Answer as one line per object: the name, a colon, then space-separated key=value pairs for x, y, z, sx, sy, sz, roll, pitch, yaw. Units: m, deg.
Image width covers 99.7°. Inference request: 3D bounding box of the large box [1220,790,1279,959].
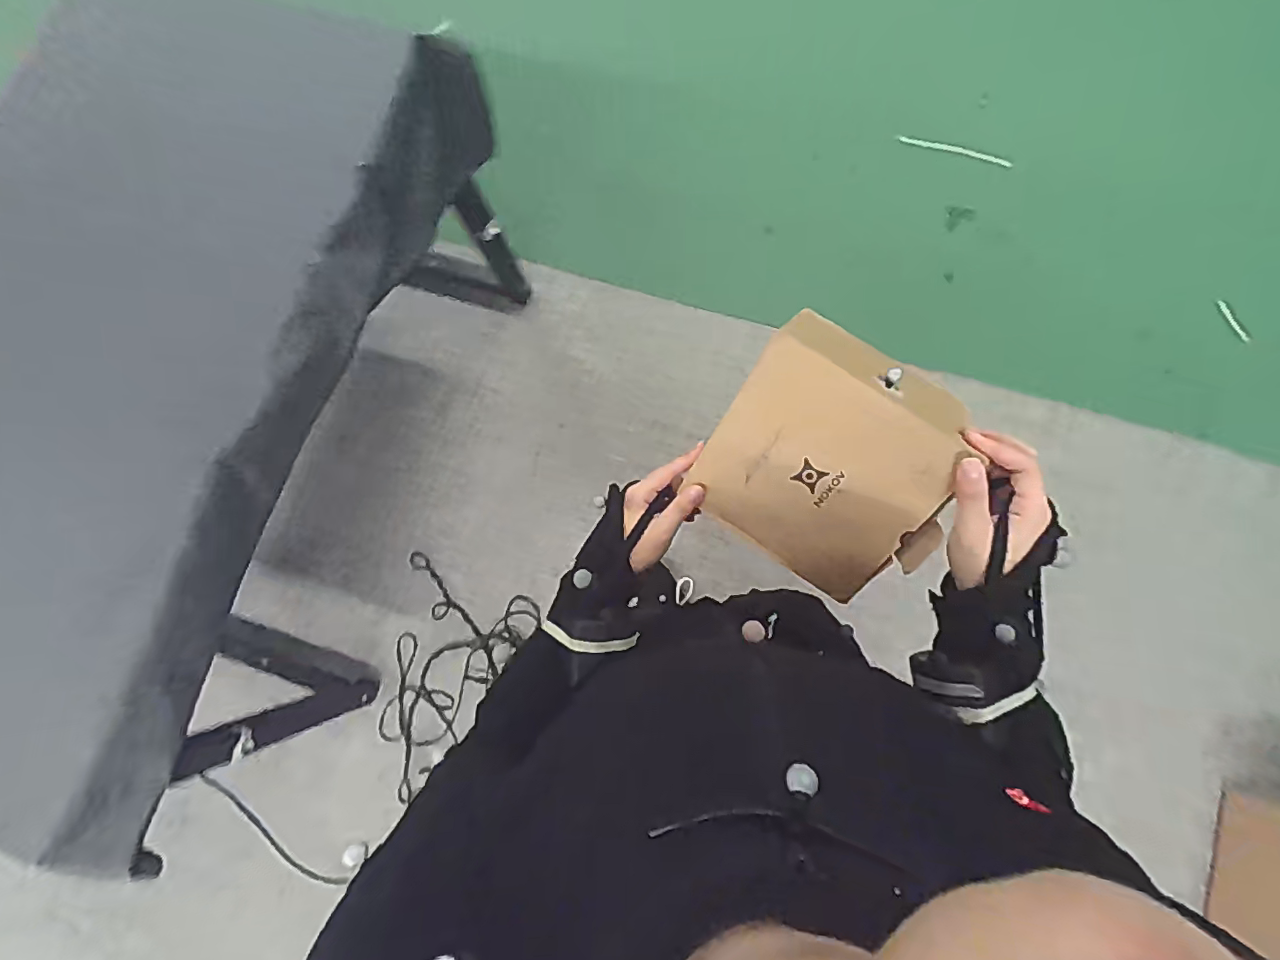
large box: x=1.377 y=0.867 z=0.983 sx=0.320 sy=0.320 sz=0.408 roll=15 pitch=82 yaw=8
